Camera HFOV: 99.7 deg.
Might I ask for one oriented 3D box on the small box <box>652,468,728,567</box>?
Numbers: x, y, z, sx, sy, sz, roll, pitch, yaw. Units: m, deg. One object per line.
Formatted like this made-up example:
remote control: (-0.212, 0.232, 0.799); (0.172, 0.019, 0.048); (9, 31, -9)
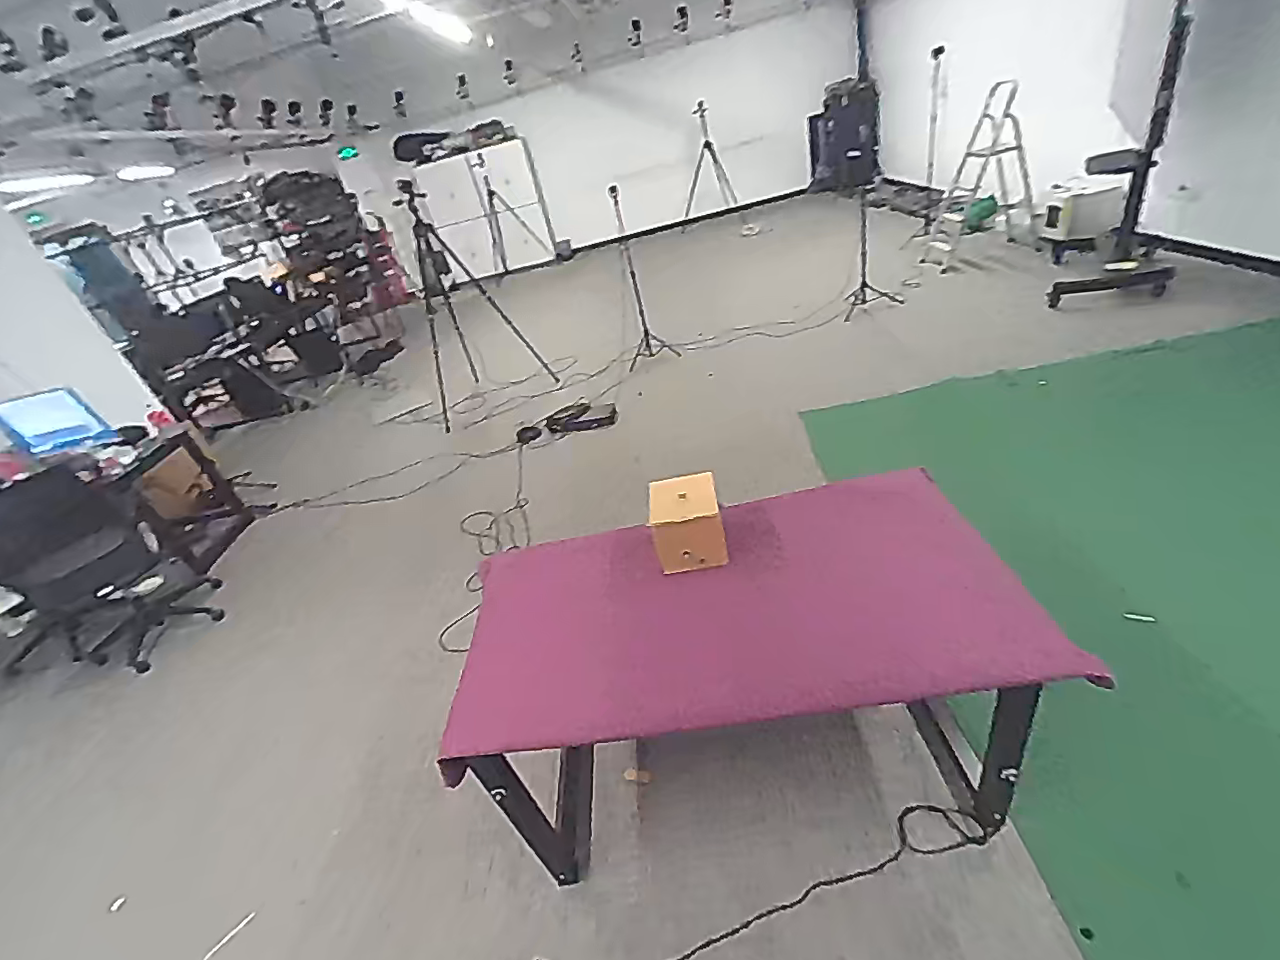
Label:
small box: (0.126, 0.096, 1.367); (0.168, 0.176, 0.179); (-10, 35, 7)
